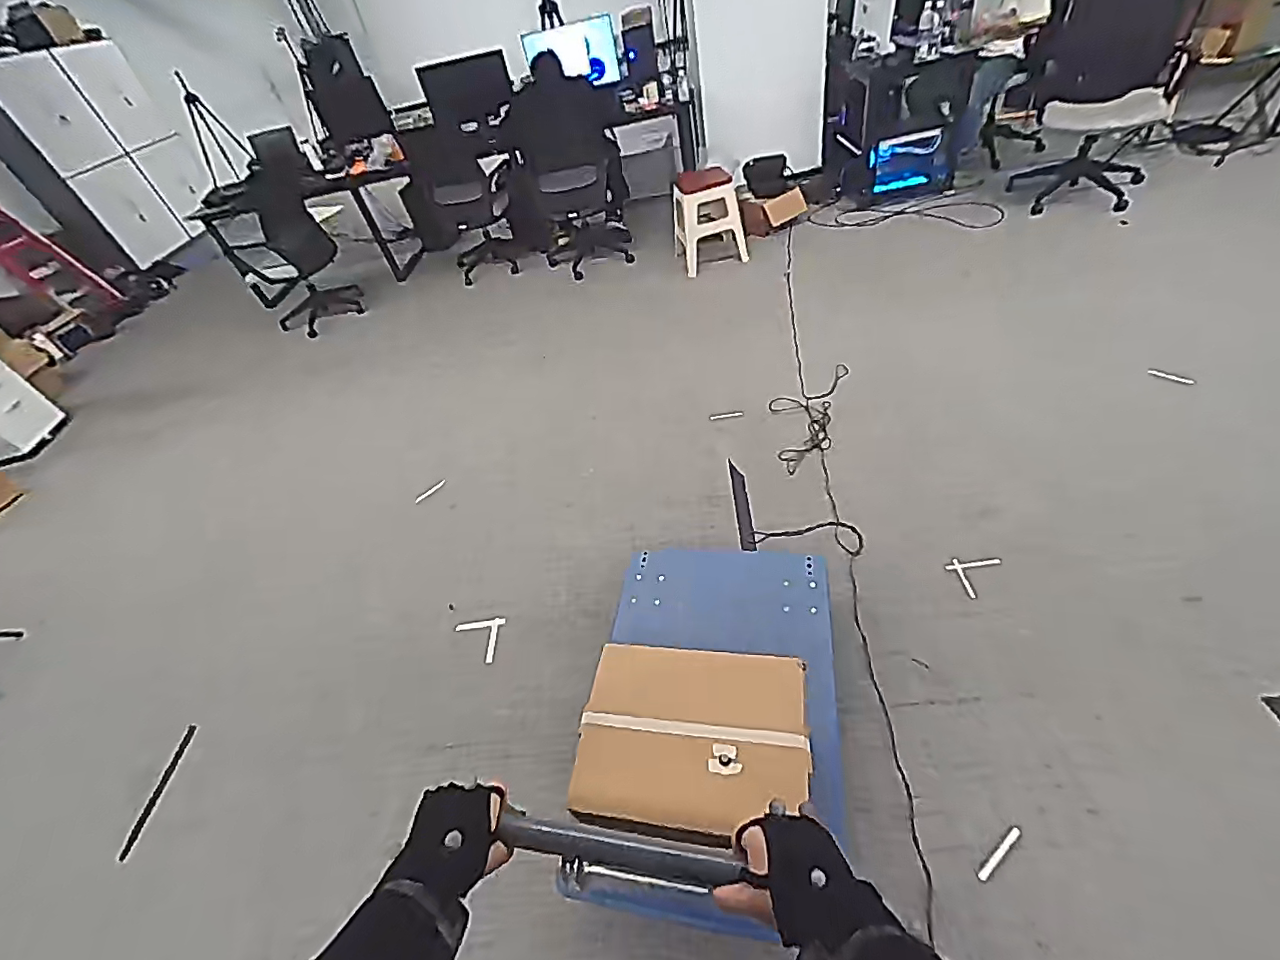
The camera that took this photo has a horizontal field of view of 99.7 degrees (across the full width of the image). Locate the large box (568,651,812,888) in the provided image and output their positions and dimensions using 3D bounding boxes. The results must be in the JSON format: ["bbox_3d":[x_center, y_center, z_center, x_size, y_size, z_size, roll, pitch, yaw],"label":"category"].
[{"bbox_3d":[0.116,0.563,1.068,0.408,0.320,0.320,0,46,15],"label":"large box"}]
